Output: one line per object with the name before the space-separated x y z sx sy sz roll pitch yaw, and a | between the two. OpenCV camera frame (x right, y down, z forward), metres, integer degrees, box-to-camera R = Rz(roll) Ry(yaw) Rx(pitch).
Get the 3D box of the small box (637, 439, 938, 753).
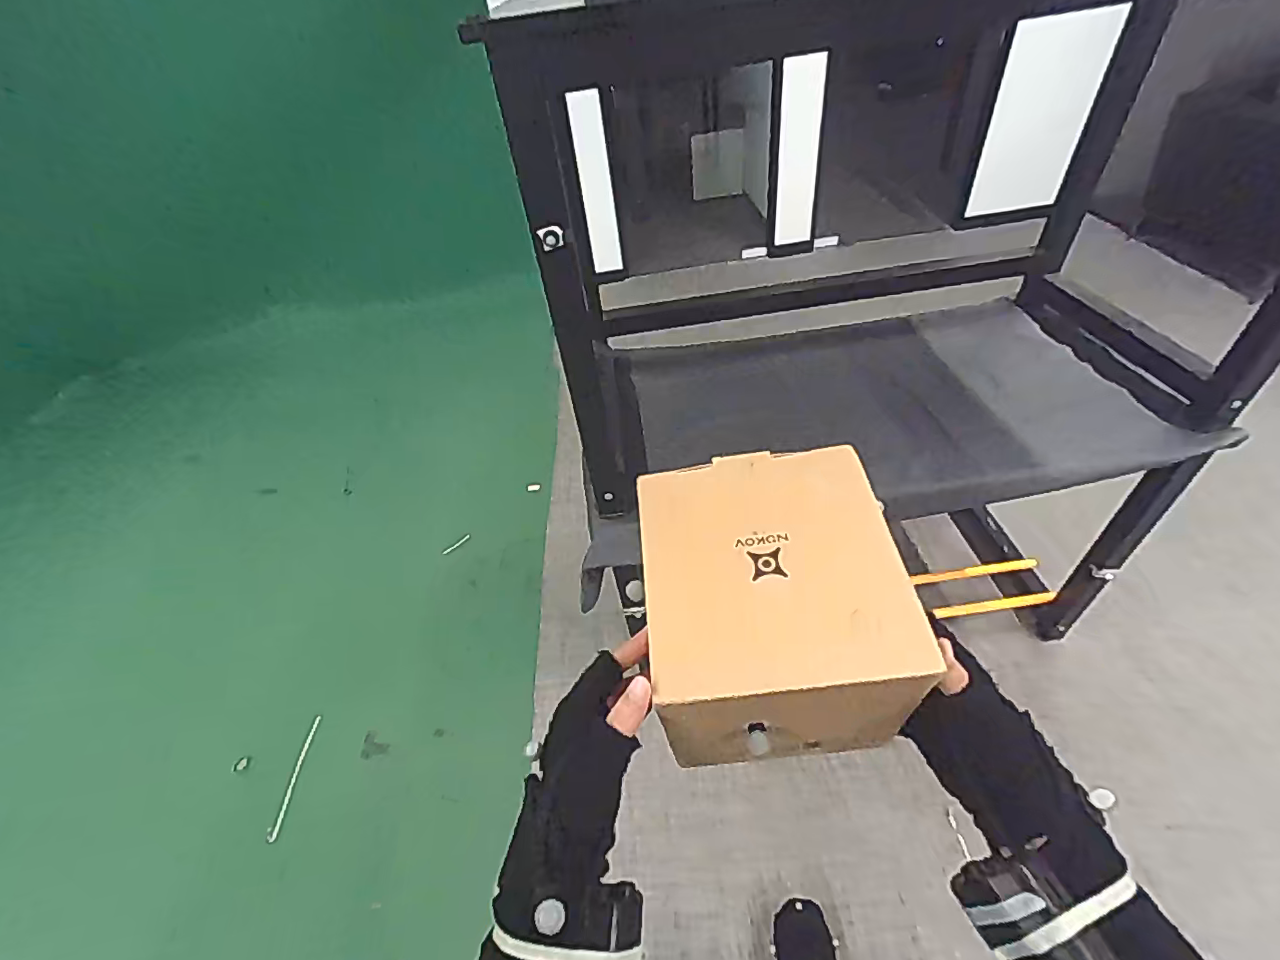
small box | 0.095 0.097 0.416 0.168 0.176 0.179 -8 49 5
